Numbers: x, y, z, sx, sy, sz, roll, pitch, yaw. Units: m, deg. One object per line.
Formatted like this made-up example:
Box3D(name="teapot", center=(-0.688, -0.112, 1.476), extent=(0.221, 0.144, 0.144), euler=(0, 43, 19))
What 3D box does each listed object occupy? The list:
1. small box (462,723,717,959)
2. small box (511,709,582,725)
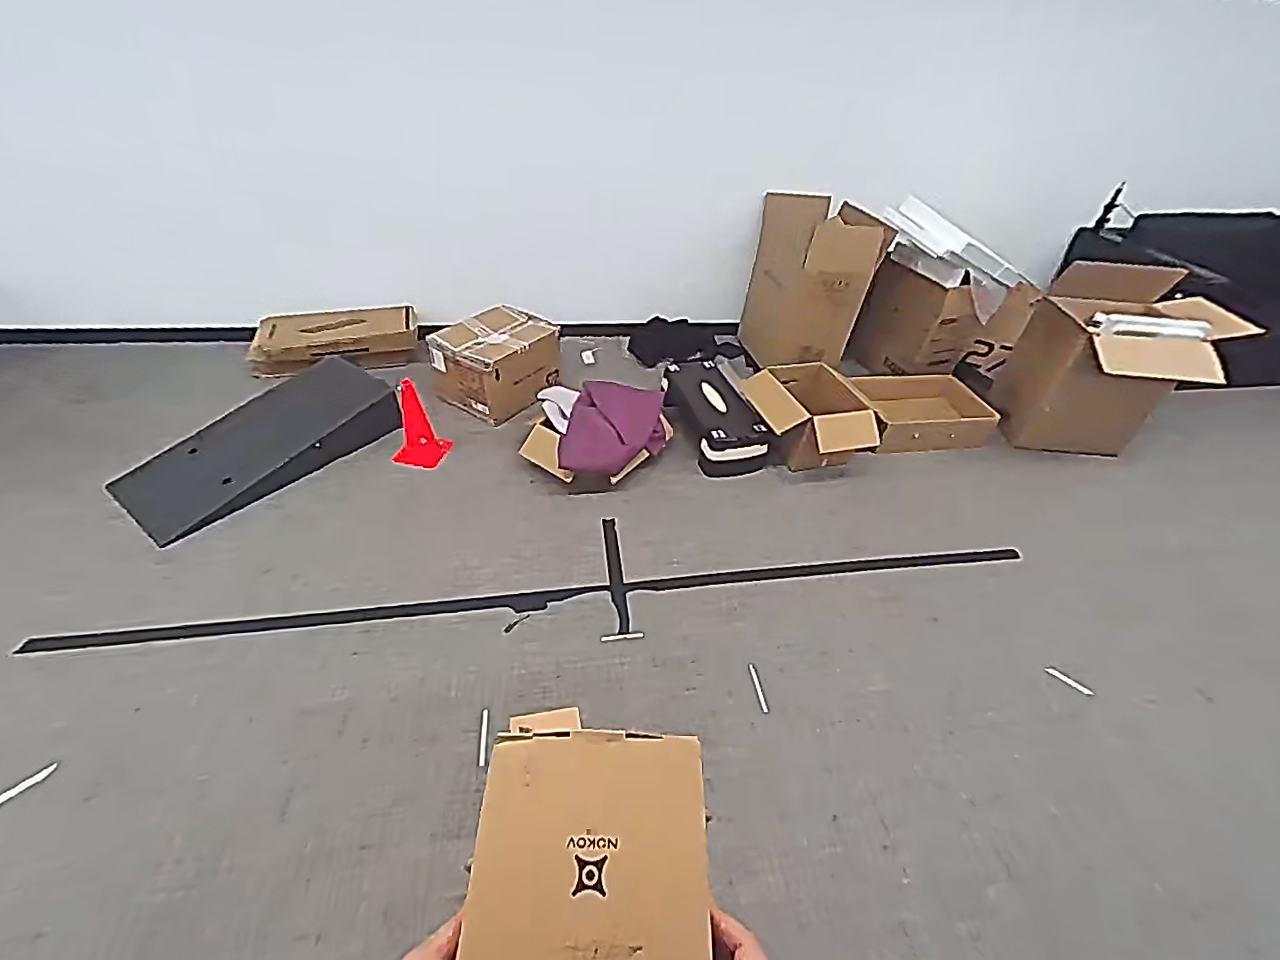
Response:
Box3D(name="small box", center=(-0.033, 0.315, 0.442), extent=(0.168, 0.176, 0.179), euler=(1, 52, 0))
Box3D(name="small box", center=(-0.226, 0.705, 1.356), extent=(0.179, 0.176, 0.168), euler=(-5, 42, -12))
